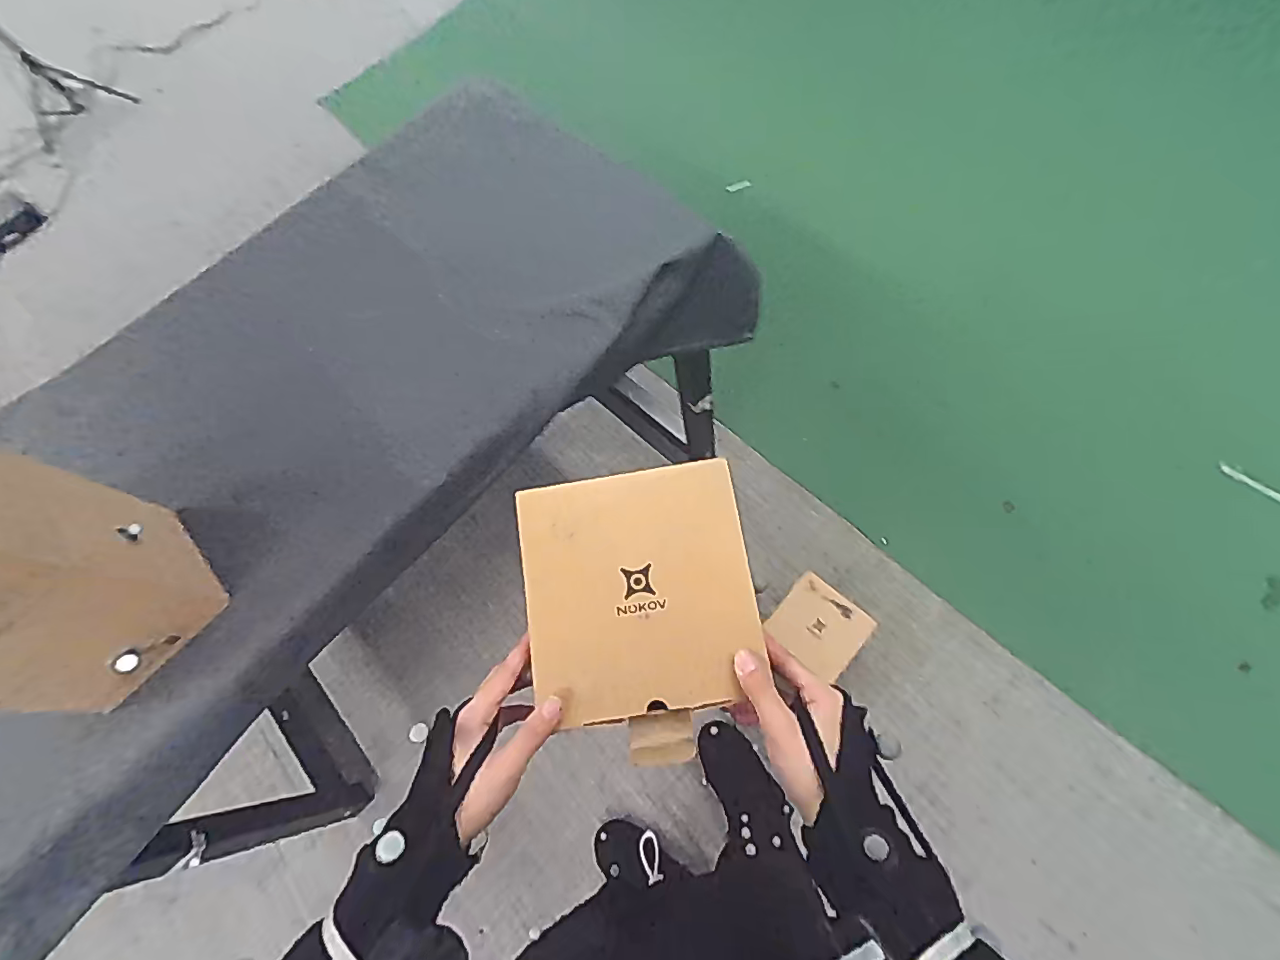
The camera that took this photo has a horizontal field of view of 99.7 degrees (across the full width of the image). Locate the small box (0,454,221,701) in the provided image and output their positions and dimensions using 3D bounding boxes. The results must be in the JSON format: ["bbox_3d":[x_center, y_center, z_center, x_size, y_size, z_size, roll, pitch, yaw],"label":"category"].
[{"bbox_3d":[-0.601,0.111,0.563,0.179,0.176,0.168,40,79,20],"label":"small box"}]
